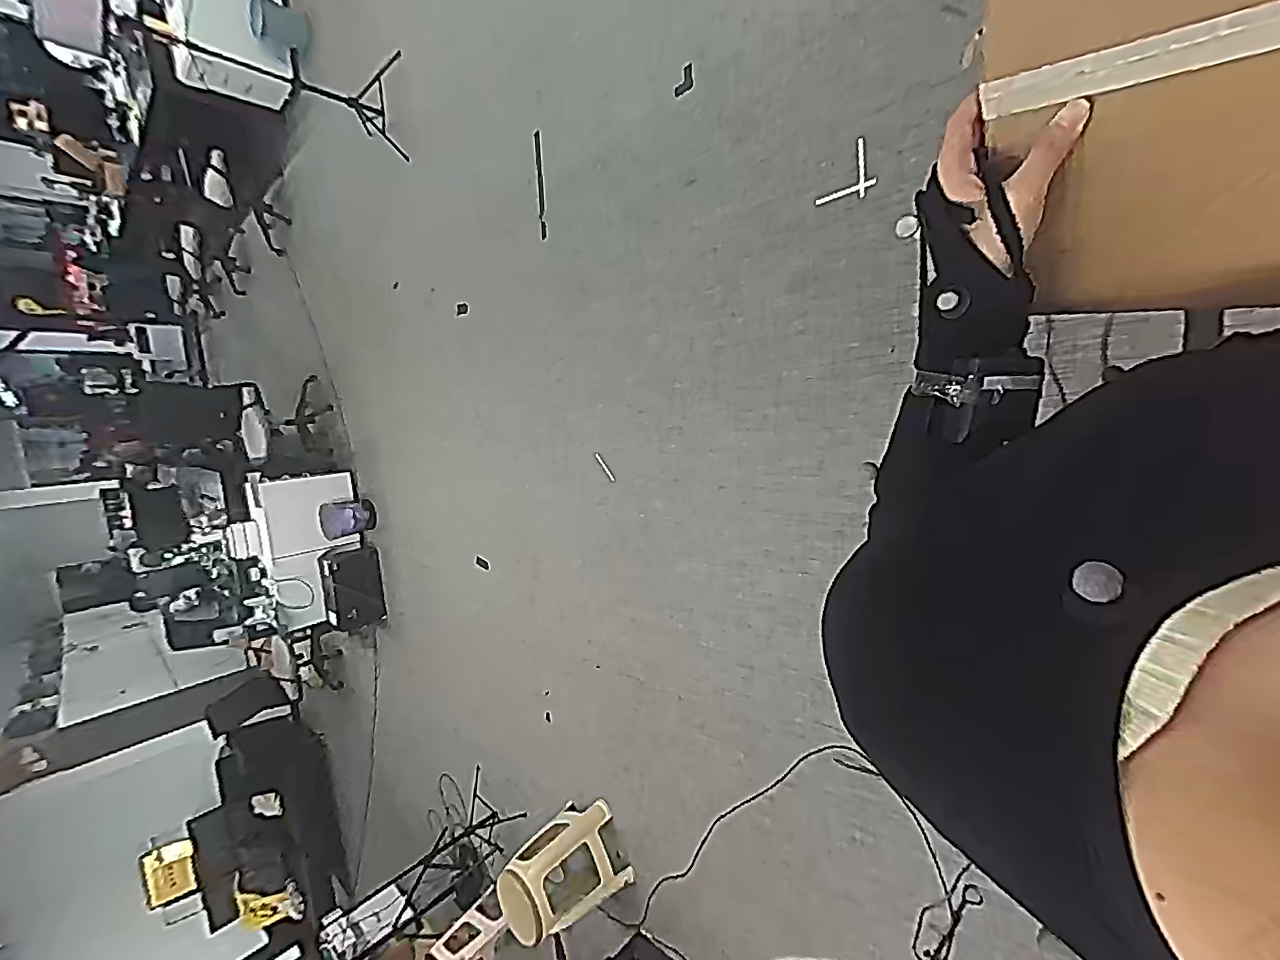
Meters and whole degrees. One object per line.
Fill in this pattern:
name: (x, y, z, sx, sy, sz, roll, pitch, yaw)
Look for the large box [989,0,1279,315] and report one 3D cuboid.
large box: (0.451, -0.319, 0.284, 0.408, 0.320, 0.320, 10, 143, 42)
